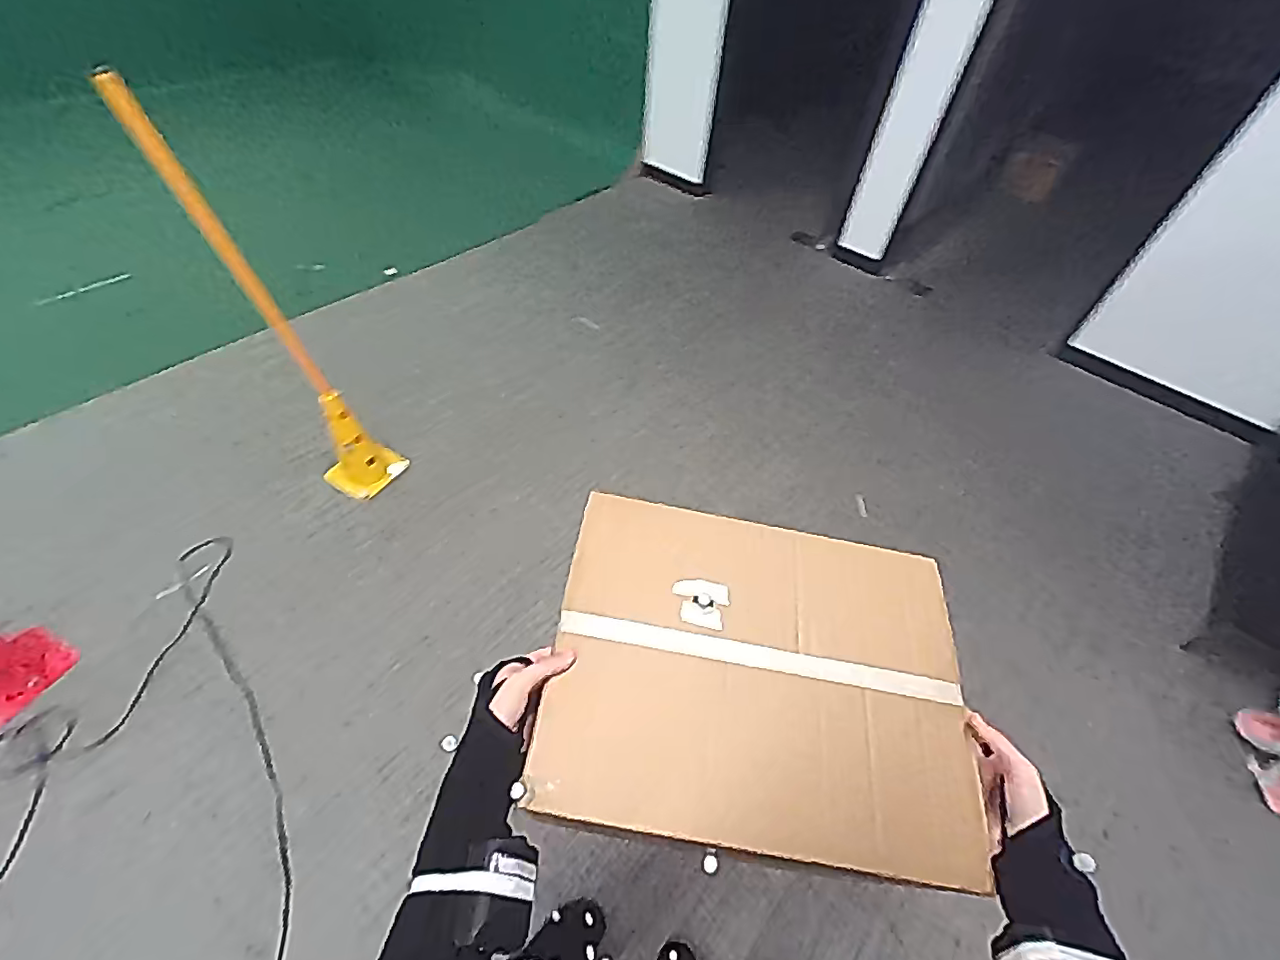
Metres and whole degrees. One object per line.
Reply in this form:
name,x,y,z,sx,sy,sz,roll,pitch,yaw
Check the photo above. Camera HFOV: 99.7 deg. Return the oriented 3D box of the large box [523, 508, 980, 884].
large box,0.101,0.267,0.661,0.408,0.320,0.320,10,55,-1
